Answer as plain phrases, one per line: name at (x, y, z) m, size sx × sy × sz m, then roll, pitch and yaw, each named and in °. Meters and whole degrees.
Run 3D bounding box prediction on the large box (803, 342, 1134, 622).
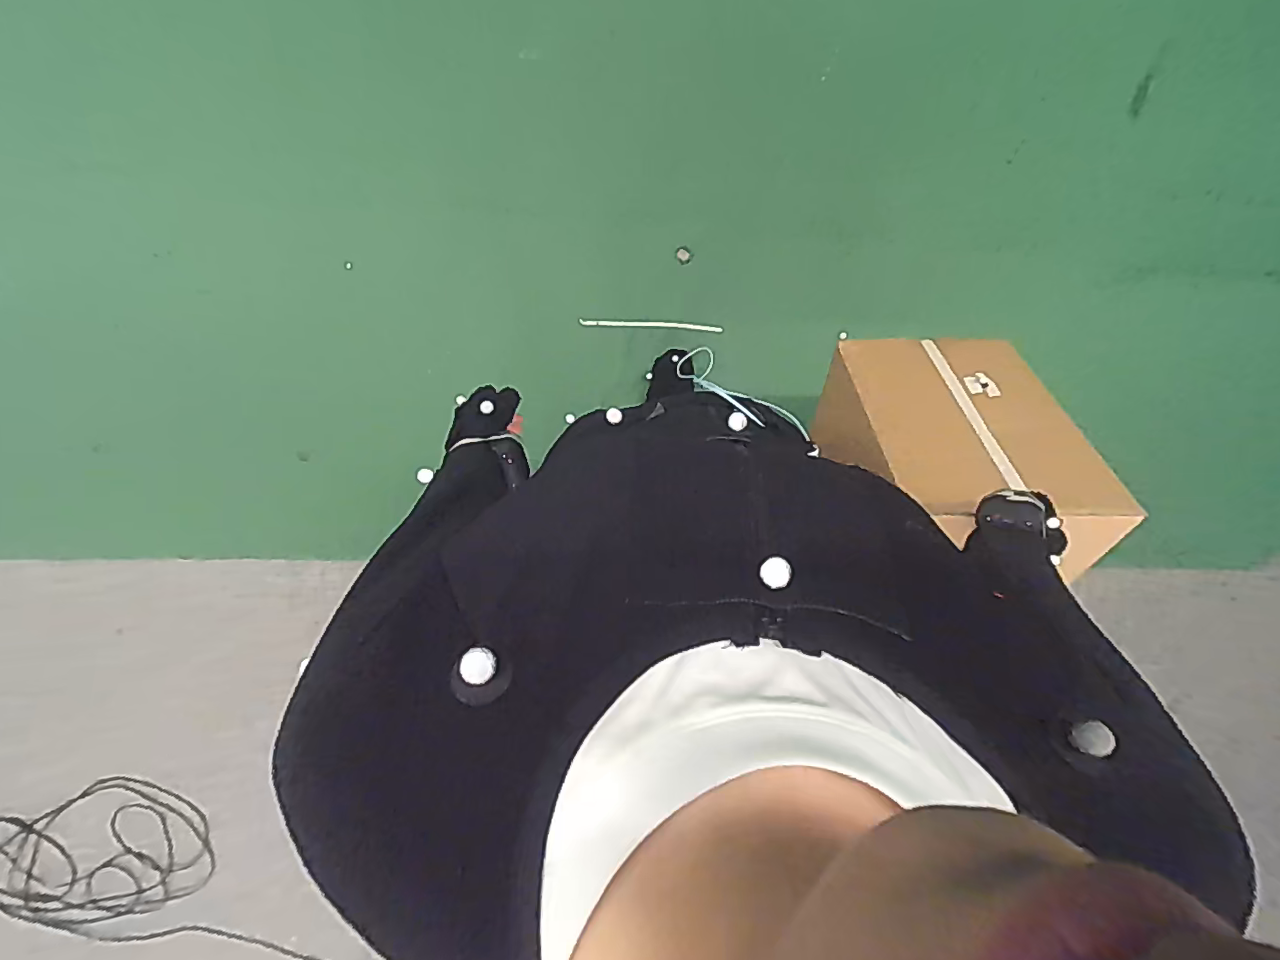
large box at (0.510, 0.000, 0.961) m, size 0.320 × 0.408 × 0.320 m, roll 1°, pitch 137°, yaw 0°
